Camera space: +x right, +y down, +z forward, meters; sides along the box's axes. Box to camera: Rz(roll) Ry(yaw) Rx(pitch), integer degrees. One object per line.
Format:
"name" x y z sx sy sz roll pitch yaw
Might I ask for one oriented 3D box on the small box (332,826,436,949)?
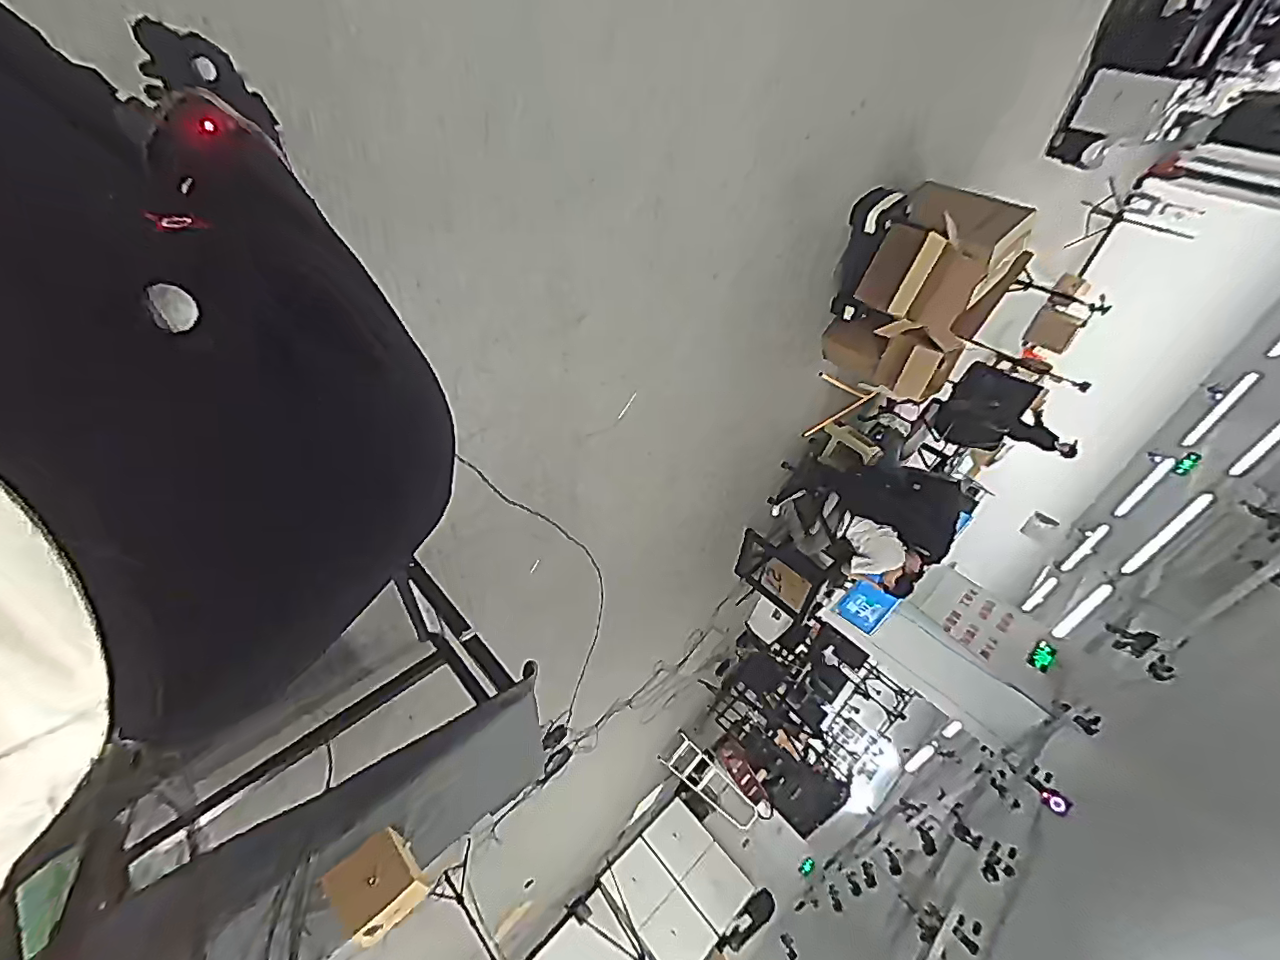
"small box" -0.662 1.045 1.392 0.179 0.176 0.168 -34 146 -31
